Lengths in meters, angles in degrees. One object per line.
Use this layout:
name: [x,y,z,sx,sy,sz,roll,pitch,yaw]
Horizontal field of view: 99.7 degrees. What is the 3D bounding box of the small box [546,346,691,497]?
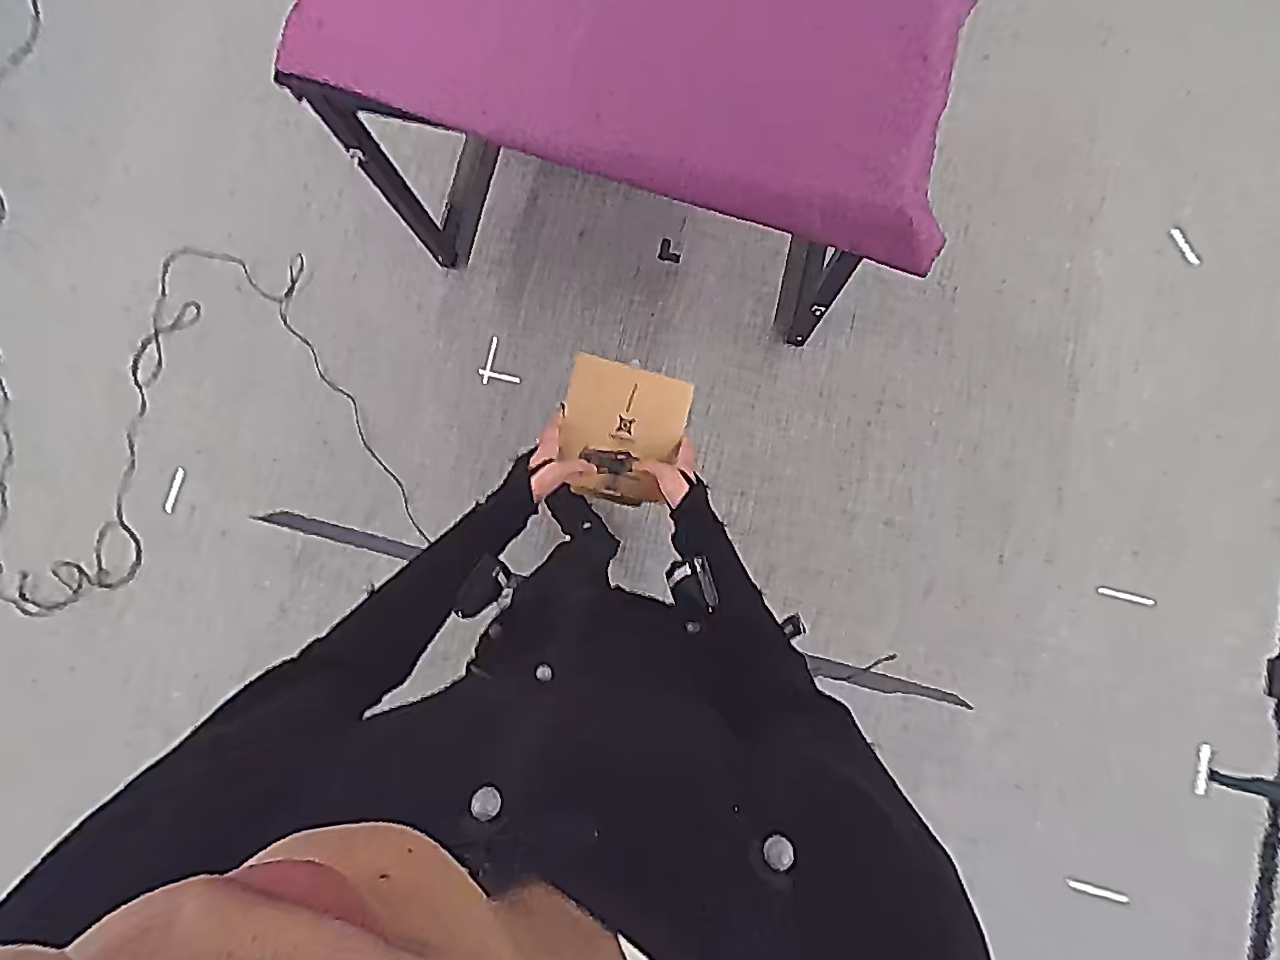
small box: [-0.038,-0.091,0.815,0.168,0.176,0.179,13,99,-10]
